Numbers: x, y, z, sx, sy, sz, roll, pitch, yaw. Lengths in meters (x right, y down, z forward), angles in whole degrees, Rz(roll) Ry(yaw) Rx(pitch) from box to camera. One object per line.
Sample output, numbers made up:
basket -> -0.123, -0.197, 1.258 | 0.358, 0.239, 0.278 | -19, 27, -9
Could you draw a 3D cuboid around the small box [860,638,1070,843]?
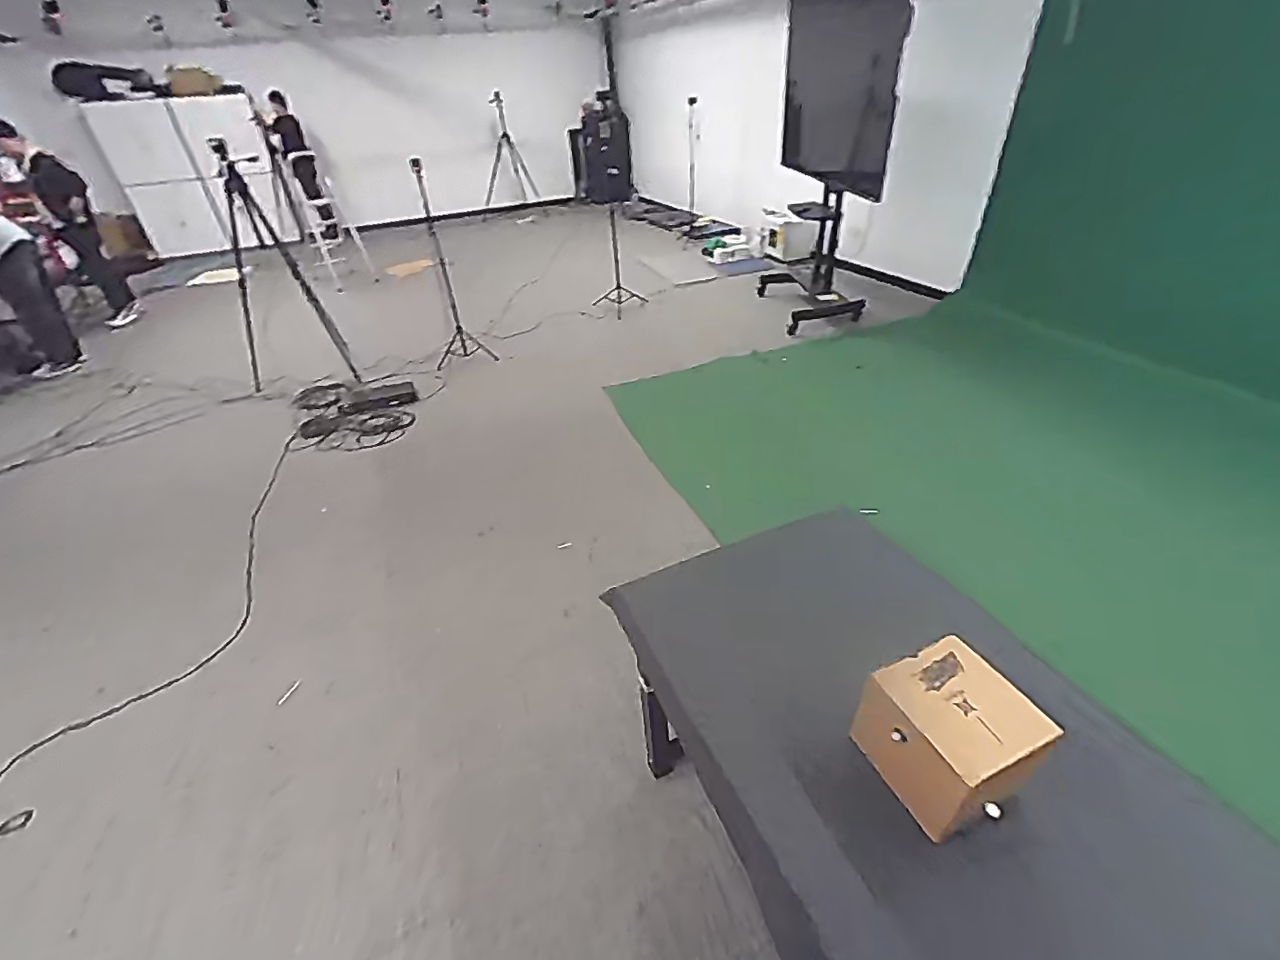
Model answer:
small box -> 0.445, 0.368, 0.774 | 0.168, 0.176, 0.179 | -17, 38, -16
